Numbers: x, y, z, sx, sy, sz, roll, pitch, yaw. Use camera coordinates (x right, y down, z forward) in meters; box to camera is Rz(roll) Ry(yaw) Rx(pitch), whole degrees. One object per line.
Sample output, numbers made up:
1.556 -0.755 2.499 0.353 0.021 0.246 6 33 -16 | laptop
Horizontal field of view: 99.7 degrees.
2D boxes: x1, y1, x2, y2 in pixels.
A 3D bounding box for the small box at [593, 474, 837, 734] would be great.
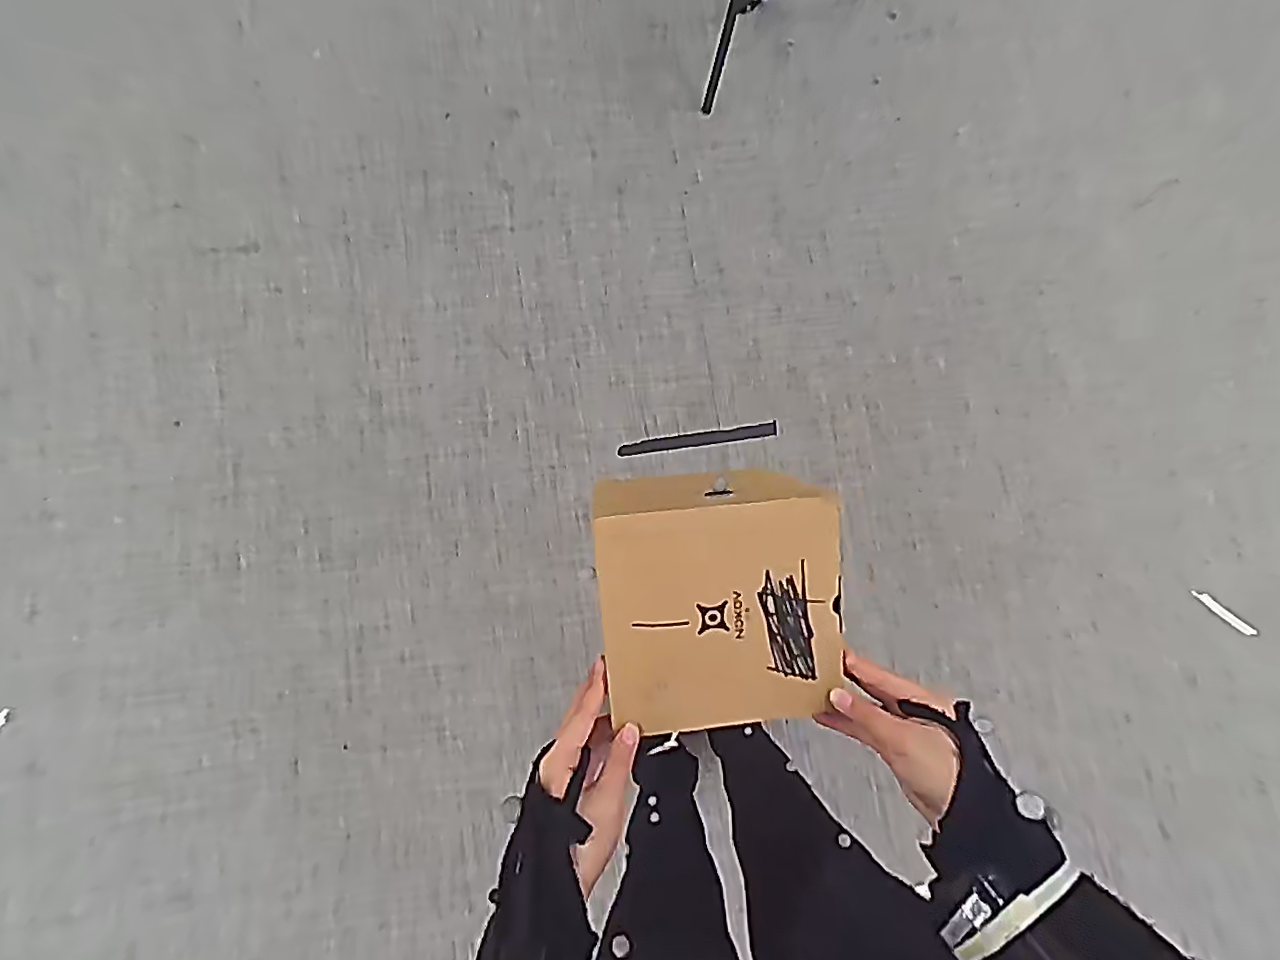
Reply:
0.052 0.090 0.474 0.179 0.176 0.168 -5 98 -4 | small box
